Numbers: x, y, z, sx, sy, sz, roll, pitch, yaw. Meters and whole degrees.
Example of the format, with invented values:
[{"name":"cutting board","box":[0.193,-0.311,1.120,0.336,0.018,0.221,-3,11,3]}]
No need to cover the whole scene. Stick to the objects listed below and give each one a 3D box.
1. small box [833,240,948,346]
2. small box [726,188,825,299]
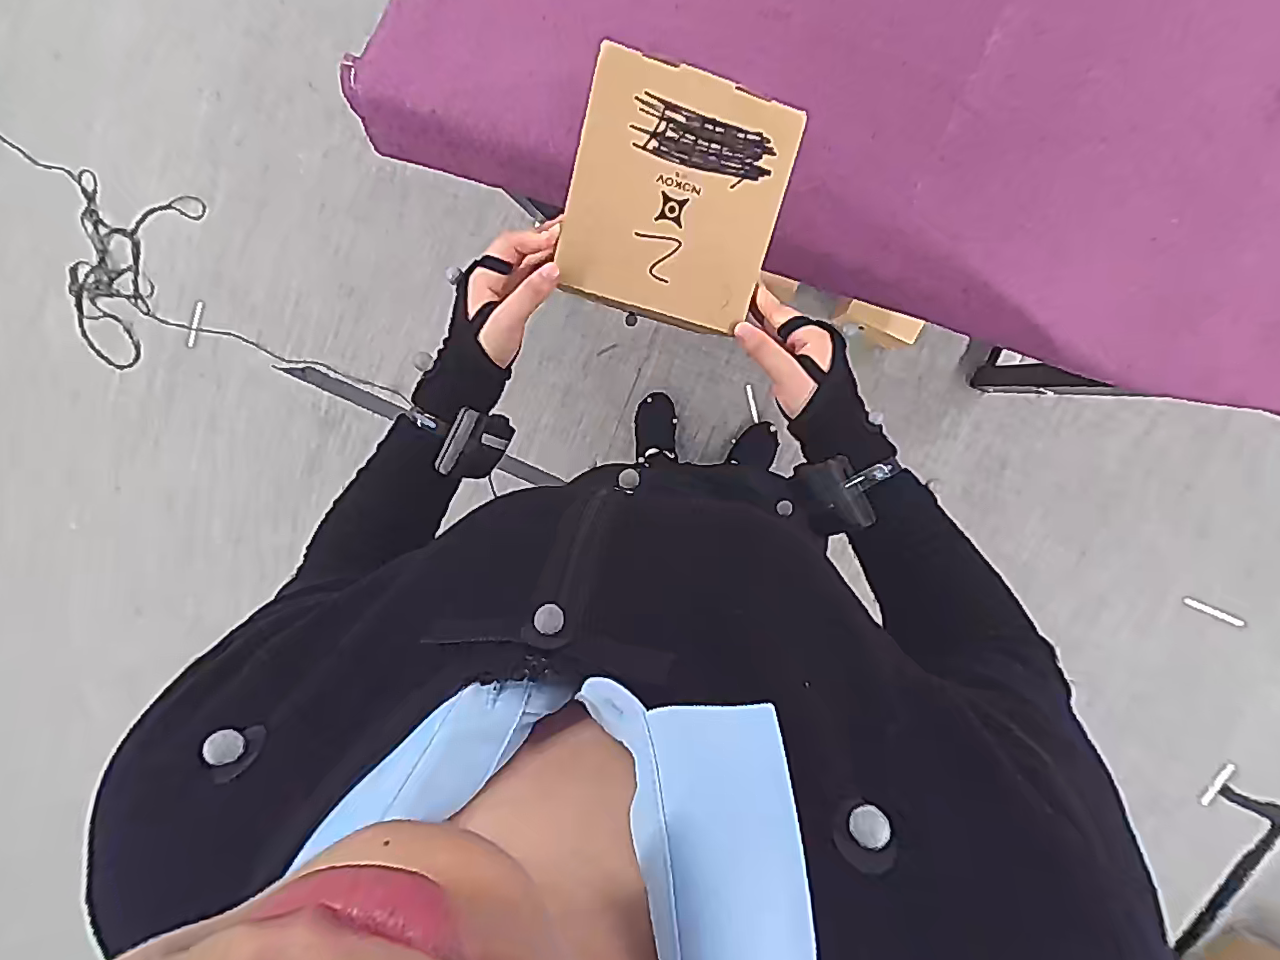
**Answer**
[{"name":"small box","box":[0.576,-0.429,1.275,0.168,0.176,0.179,26,101,2]},{"name":"small box","box":[0.312,-0.549,1.283,0.168,0.176,0.179,23,101,2]}]
